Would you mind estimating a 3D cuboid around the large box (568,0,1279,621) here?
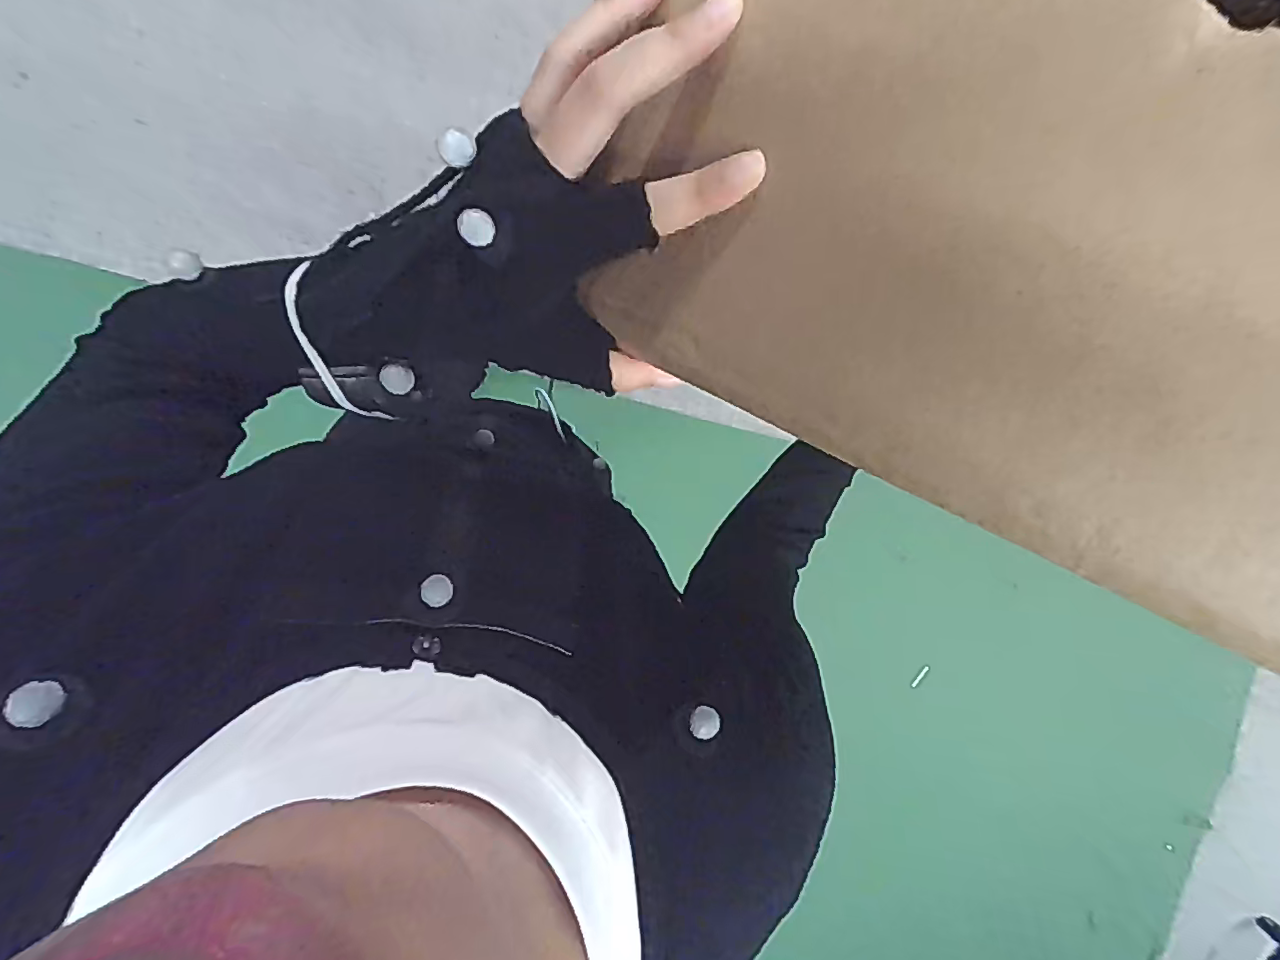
[{"bbox_3d":[0.231,-0.179,0.266,0.408,0.320,0.320,-8,124,-45],"label":"large box"}]
